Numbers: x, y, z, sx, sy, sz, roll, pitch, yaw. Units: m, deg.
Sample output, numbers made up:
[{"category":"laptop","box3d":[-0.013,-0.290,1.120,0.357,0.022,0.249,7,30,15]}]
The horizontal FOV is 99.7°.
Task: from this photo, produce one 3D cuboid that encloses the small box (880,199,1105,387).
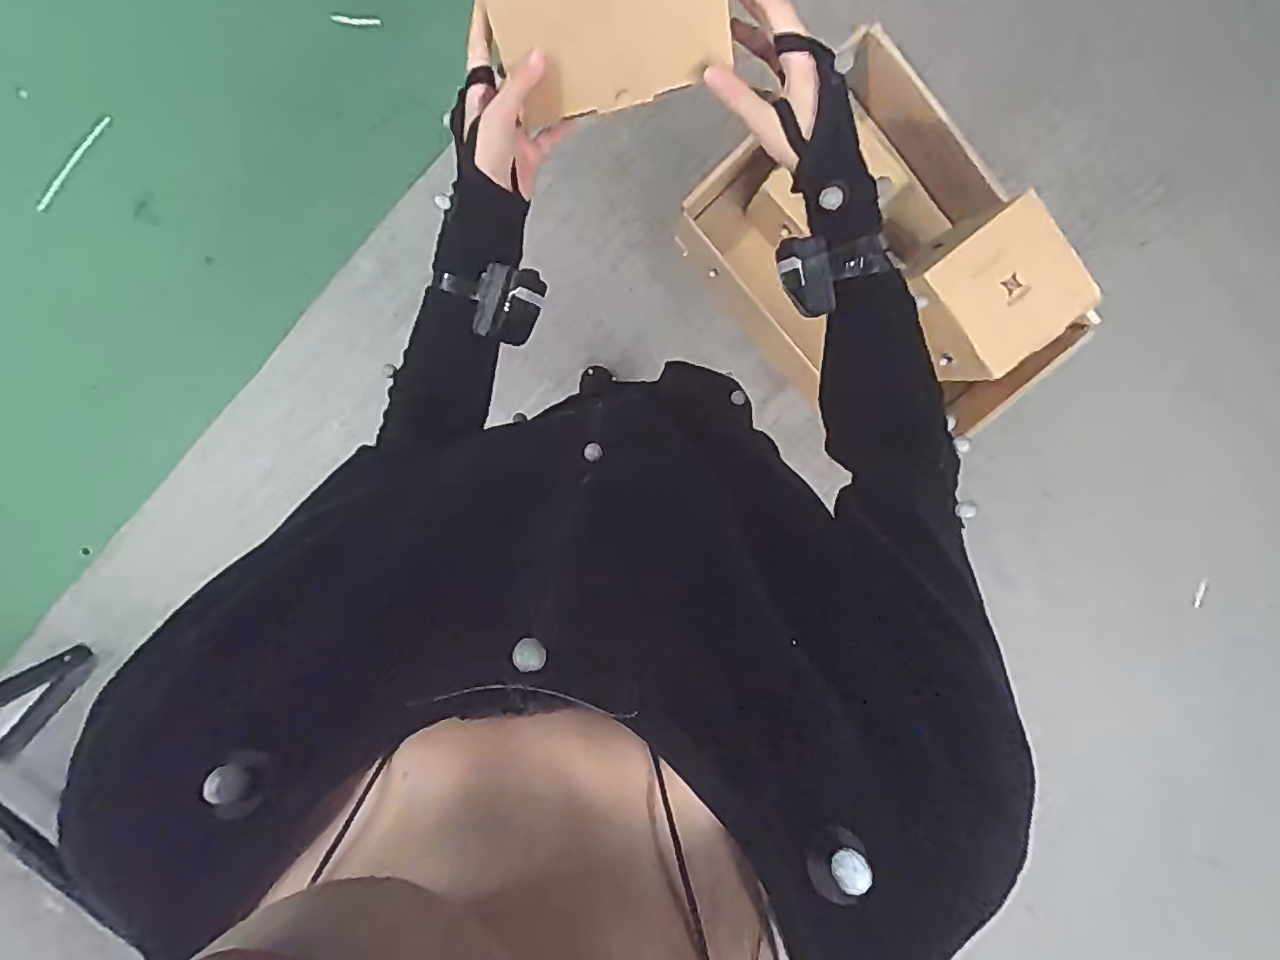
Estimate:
[{"category":"small box","box3d":[0.484,-0.253,0.771,0.168,0.176,0.179,-38,96,8]}]
